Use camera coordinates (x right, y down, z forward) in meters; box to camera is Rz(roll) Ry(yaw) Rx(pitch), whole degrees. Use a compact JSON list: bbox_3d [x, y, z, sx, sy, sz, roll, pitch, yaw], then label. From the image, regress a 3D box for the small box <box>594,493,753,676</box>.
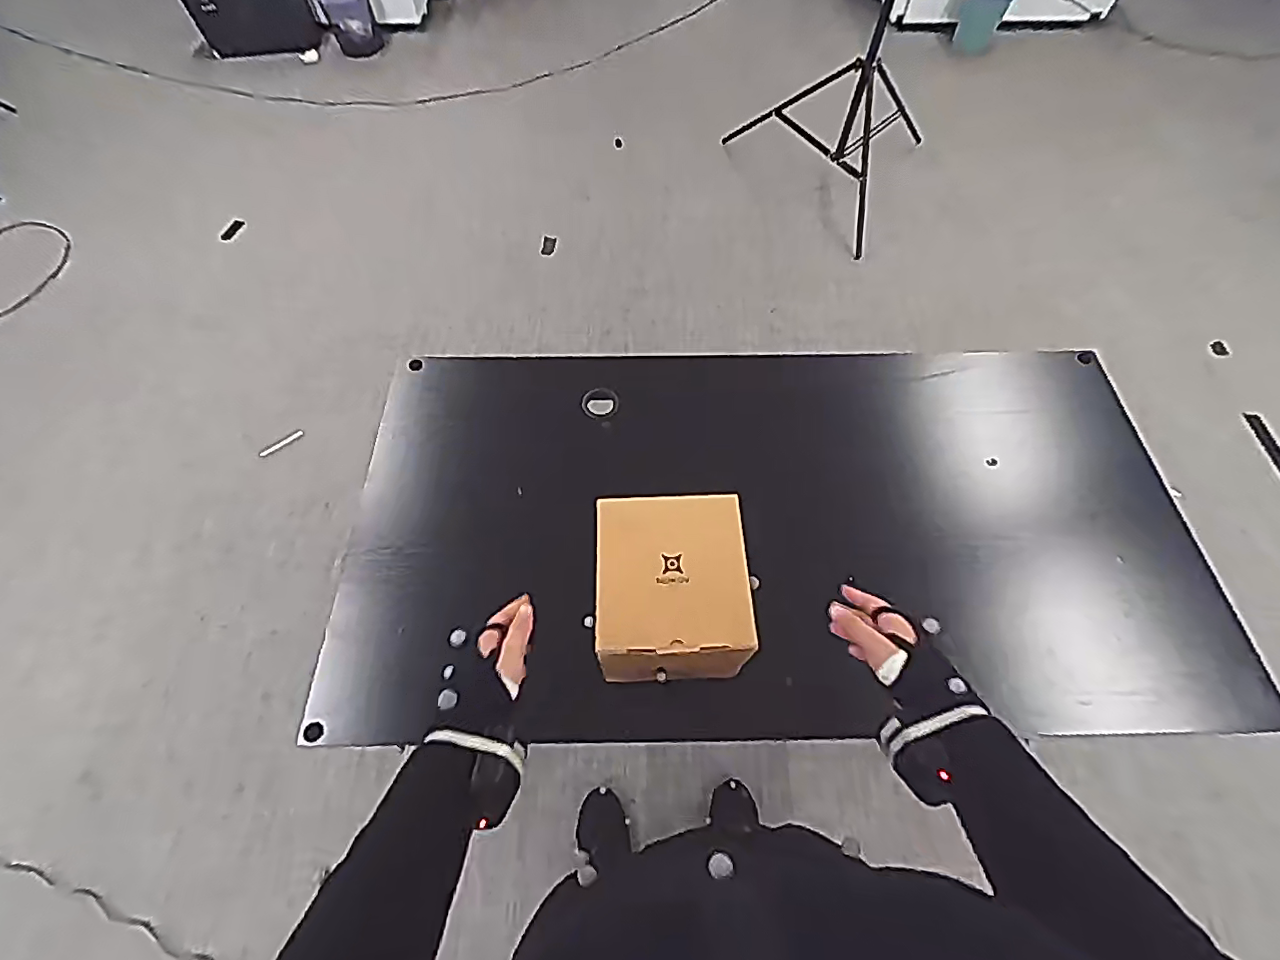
[{"bbox_3d":[0.031,0.131,0.659,0.168,0.176,0.179,-2,62,-1],"label":"small box"}]
